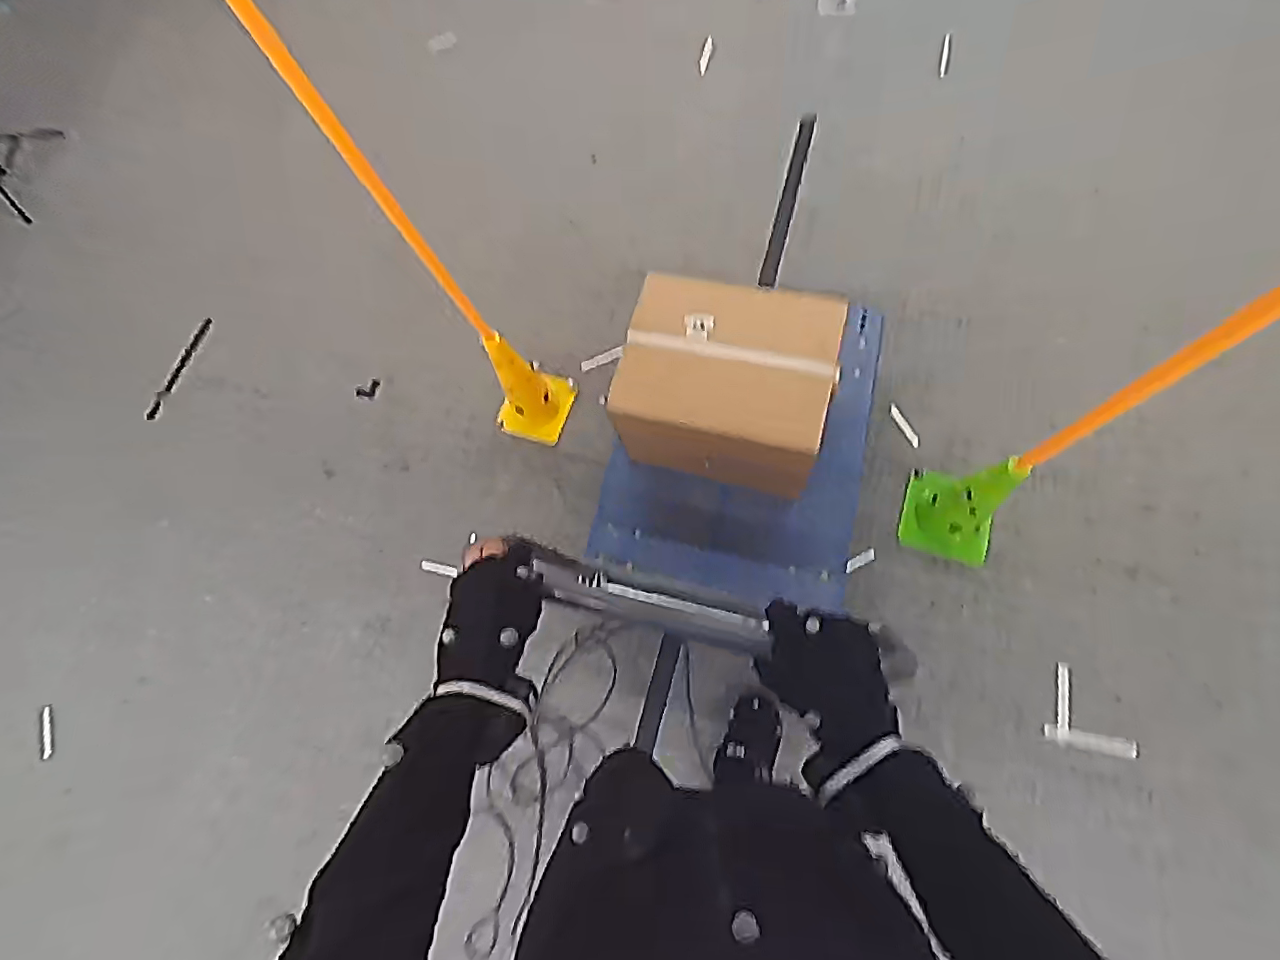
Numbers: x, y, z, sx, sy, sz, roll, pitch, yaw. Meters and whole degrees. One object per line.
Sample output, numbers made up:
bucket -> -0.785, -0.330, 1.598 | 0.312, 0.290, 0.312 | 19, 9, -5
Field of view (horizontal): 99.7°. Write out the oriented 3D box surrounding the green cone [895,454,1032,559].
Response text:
green cone -> 0.729, 0.026, 1.179 | 0.202, 0.368, 0.200 | 16, 75, 12

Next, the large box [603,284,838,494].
large box -> 0.181, -0.185, 1.183 | 0.408, 0.320, 0.320 | 13, 75, 13
